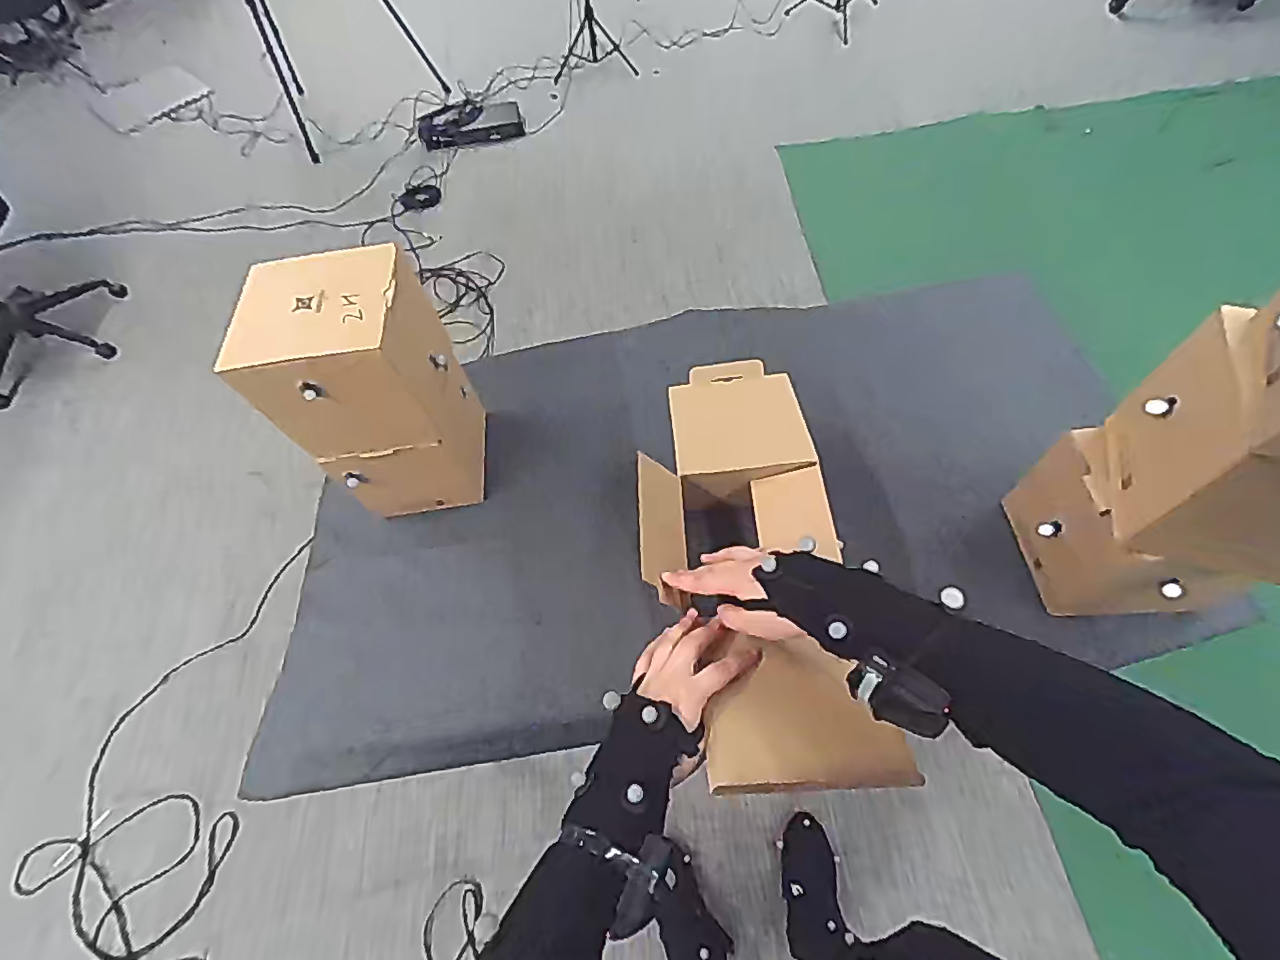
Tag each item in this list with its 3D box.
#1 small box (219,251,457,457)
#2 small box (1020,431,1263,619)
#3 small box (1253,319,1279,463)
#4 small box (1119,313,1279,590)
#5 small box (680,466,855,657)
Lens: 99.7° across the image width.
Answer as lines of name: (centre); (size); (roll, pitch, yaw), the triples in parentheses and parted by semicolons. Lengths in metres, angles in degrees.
small box: (-0.342, -0.142, 0.652); (0.179, 0.176, 0.168); (-8, 61, 1)
small box: (0.581, 0.056, 0.625); (0.179, 0.176, 0.168); (-4, 57, 5)
small box: (0.553, -0.084, 0.327); (0.179, 0.176, 0.168); (24, 63, 21)
small box: (0.569, -0.017, 0.478); (0.179, 0.176, 0.168); (15, 60, 15)
small box: (0.141, 0.107, 0.649); (0.168, 0.176, 0.179); (-6, 58, 4)
